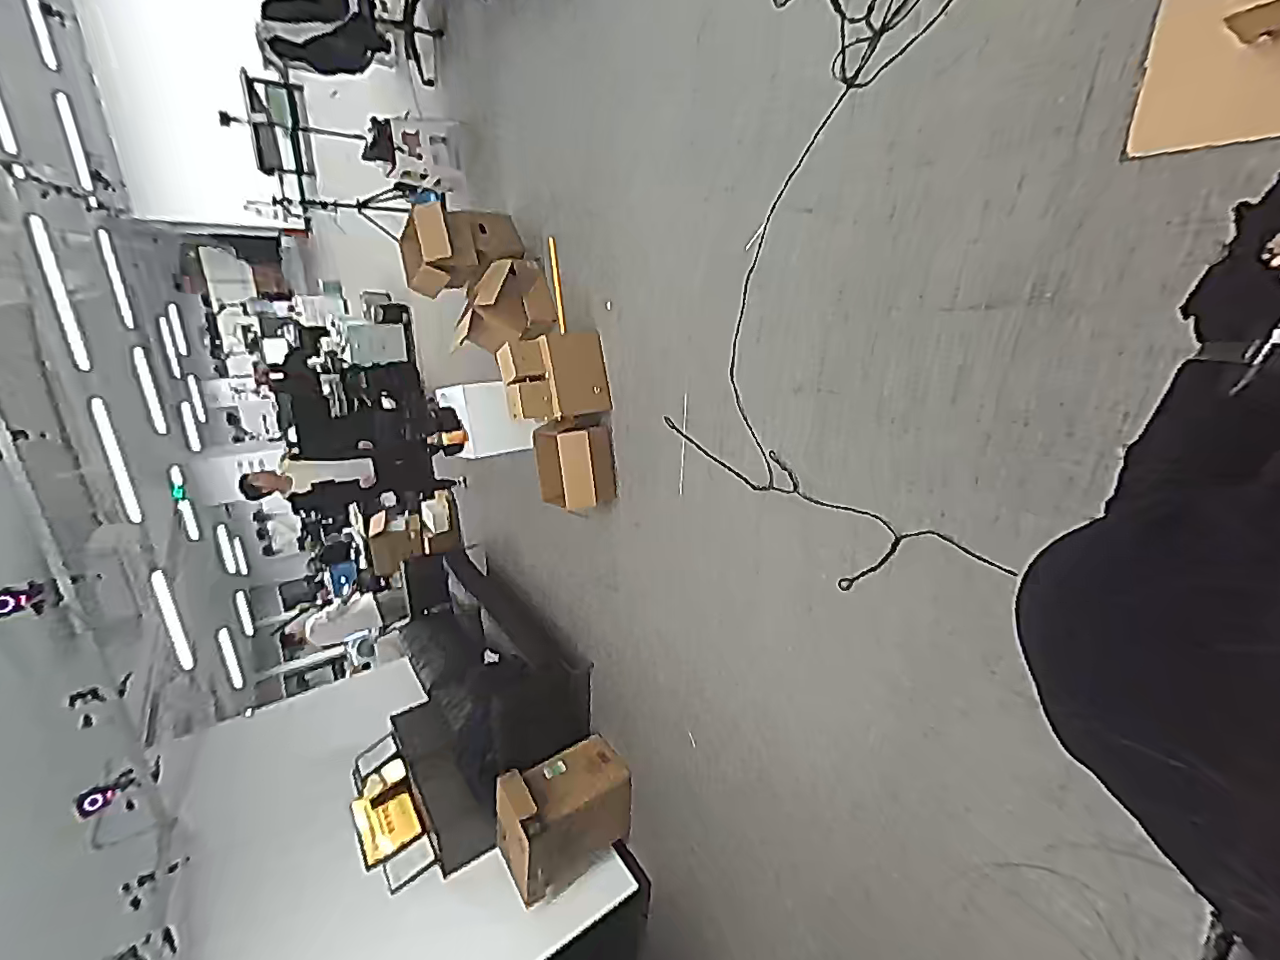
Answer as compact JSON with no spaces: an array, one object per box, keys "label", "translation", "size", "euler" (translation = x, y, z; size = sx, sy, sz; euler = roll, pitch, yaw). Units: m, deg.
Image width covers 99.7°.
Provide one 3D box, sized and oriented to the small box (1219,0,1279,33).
[{"label":"small box","translation":[1.026,-0.810,0.809],"size":[0.168,0.176,0.179],"euler":[22,118,51]}]
